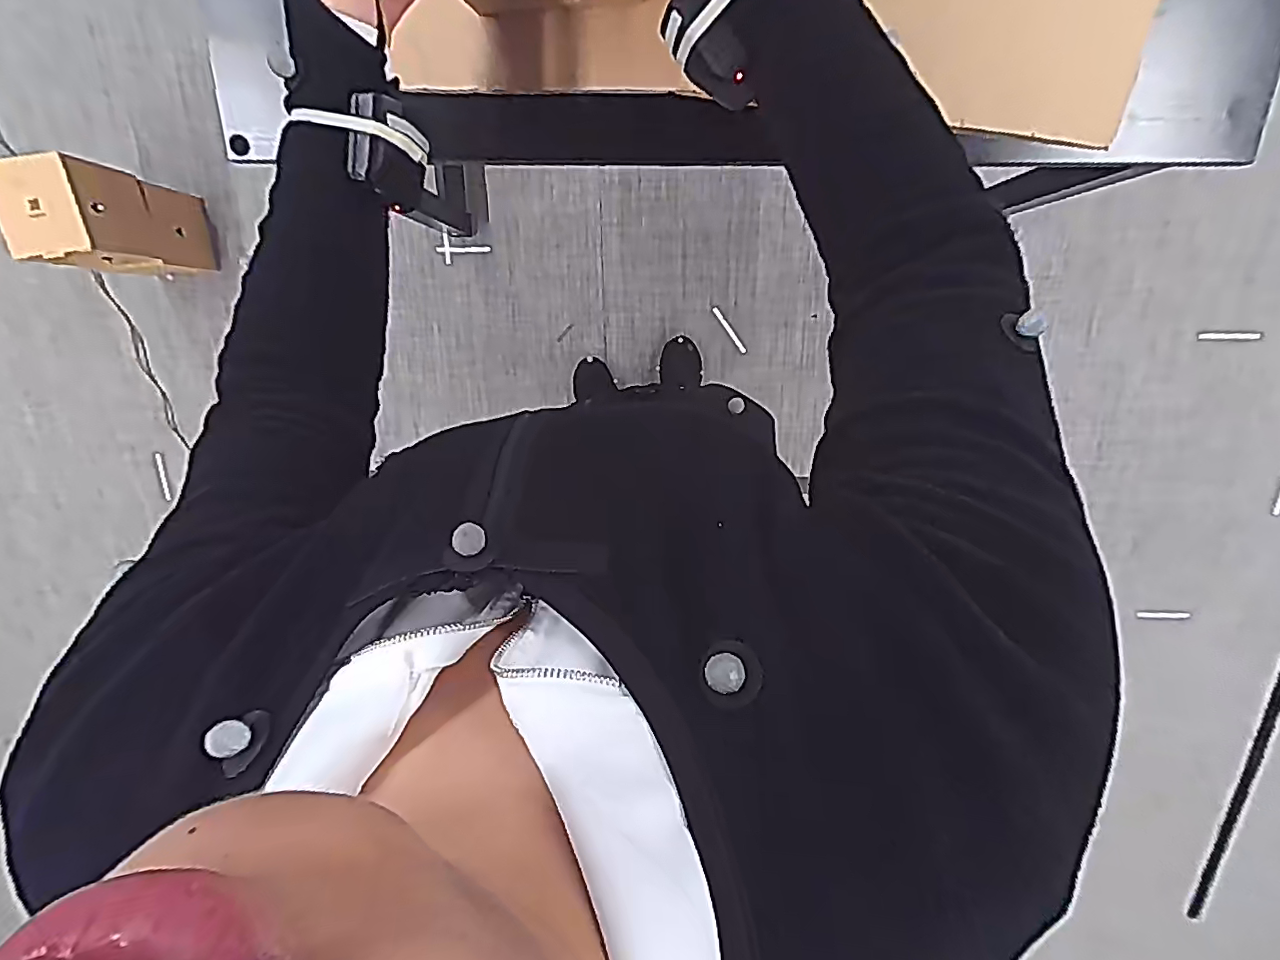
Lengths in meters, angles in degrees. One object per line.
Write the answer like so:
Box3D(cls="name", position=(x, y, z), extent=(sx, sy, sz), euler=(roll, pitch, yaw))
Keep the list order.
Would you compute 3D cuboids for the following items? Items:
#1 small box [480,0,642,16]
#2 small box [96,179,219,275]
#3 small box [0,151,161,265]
Box3D(cls="small box", position=(-0.084, -0.473, 0.374), extent=(0.168, 0.176, 0.179), euler=(9, 106, 15))
Box3D(cls="small box", position=(-1.150, -0.588, 1.275), extent=(0.168, 0.176, 0.179), euler=(-3, 107, 2))
Box3D(cls="small box", position=(-1.154, -0.549, 1.117), extent=(0.168, 0.176, 0.179), euler=(-6, 104, 2))
